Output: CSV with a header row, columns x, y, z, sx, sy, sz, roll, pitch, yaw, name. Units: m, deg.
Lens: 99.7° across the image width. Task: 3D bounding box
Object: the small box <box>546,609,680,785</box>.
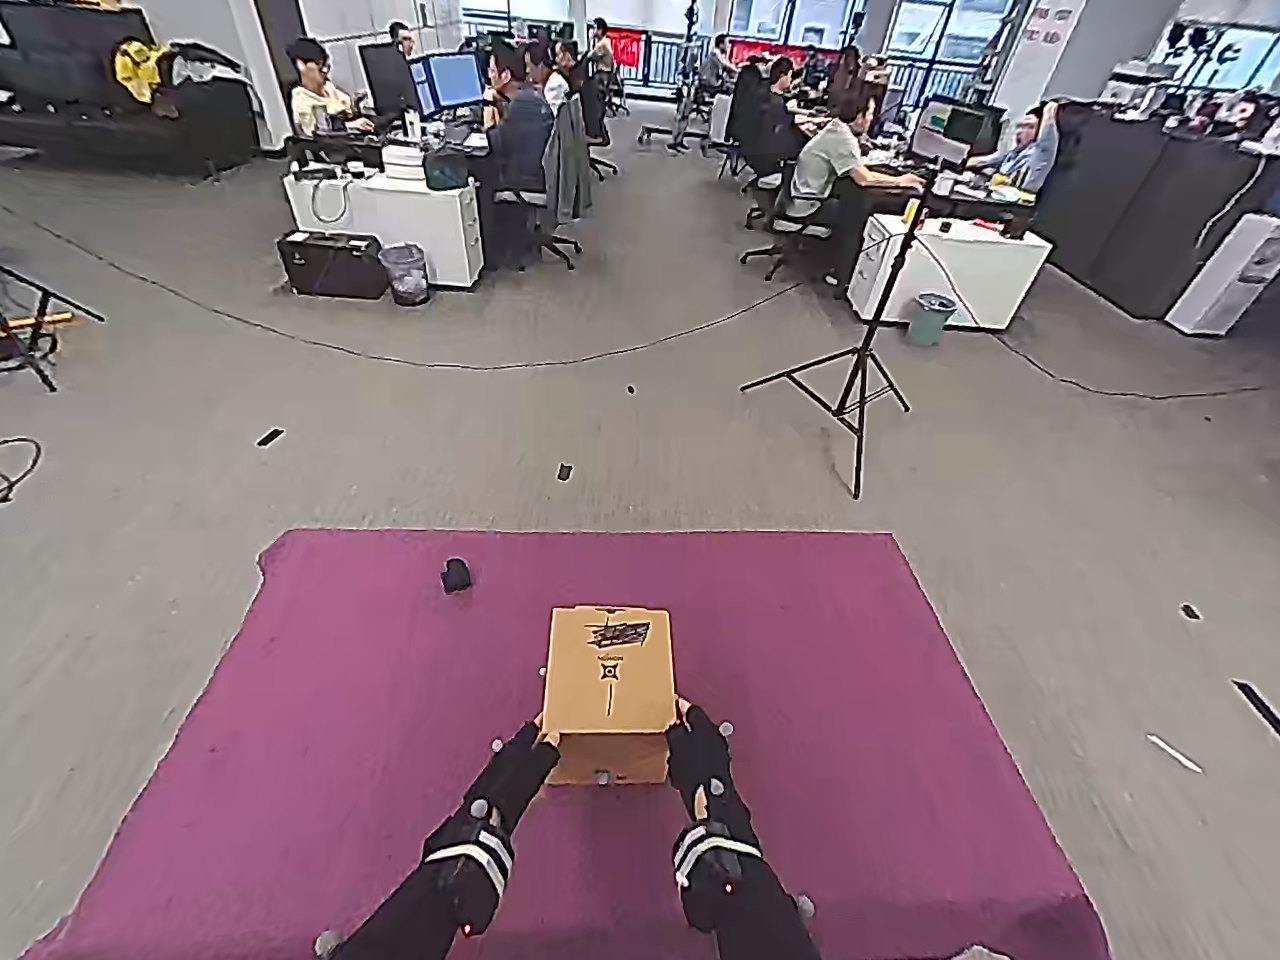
x,y,z,sx,sy,sz,roll,pitch,yaw,name
-0.041,0.304,0.760,0.168,0.176,0.179,2,42,-4,small box
